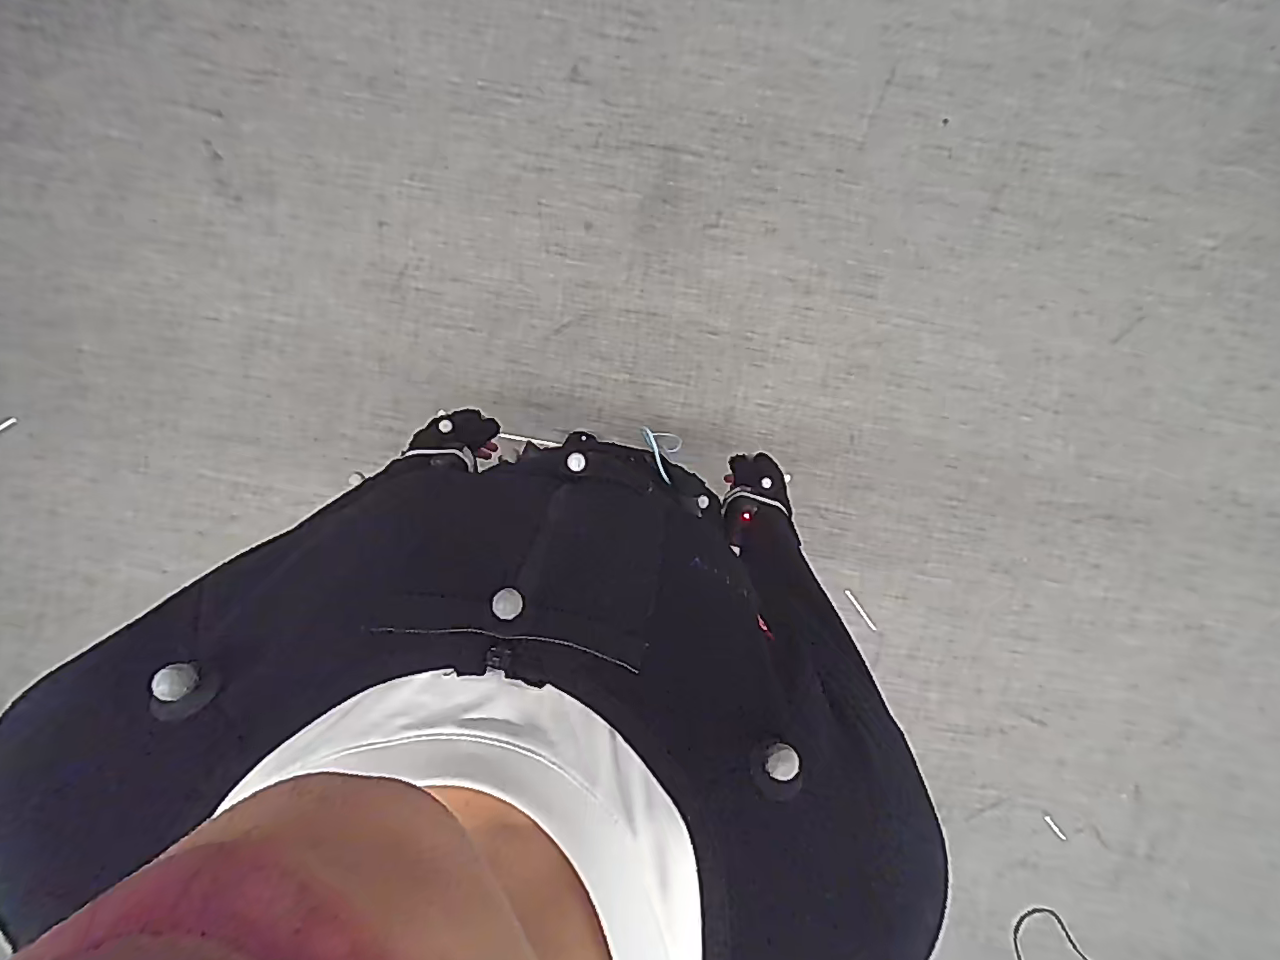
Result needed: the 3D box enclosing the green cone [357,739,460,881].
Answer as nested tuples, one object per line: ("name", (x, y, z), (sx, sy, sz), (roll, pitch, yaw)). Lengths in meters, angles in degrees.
("green cone", (-0.618, 0.858, 1.373), (0.202, 0.368, 0.200), (9, 95, -2))
